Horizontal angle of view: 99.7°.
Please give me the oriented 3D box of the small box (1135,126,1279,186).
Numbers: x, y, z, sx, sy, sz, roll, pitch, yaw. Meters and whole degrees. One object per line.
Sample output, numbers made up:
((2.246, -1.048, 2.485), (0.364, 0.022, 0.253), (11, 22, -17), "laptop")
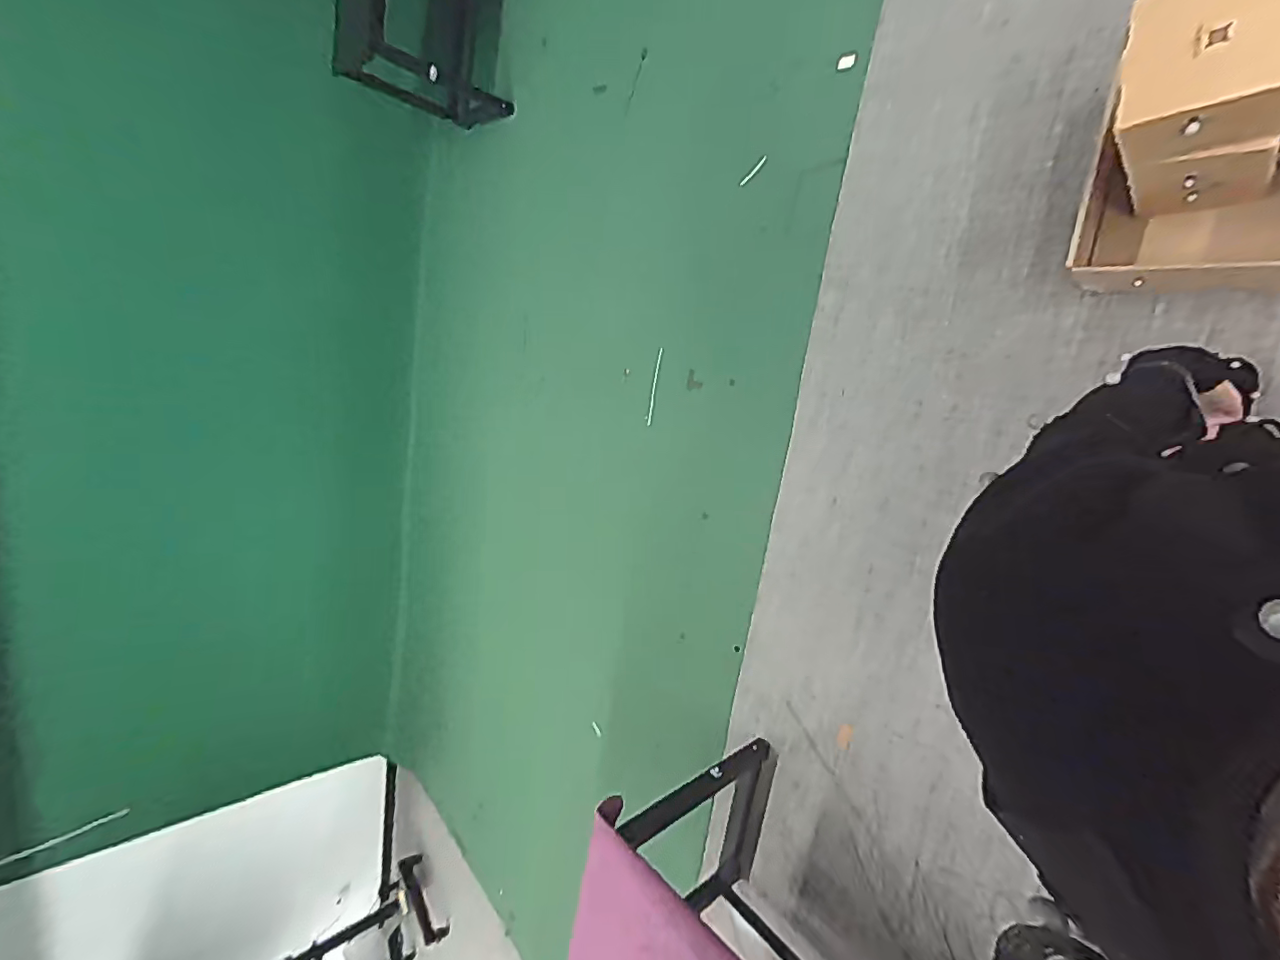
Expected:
((0.915, -0.578, 0.844), (0.168, 0.176, 0.179), (19, 107, 44), "small box")

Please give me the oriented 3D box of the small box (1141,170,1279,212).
((1.030, -0.597, 0.961), (0.179, 0.176, 0.168), (13, 103, 44), "small box")

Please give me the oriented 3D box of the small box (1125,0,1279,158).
((0.795, -0.572, 0.735), (0.179, 0.176, 0.168), (9, 101, 47), "small box")
